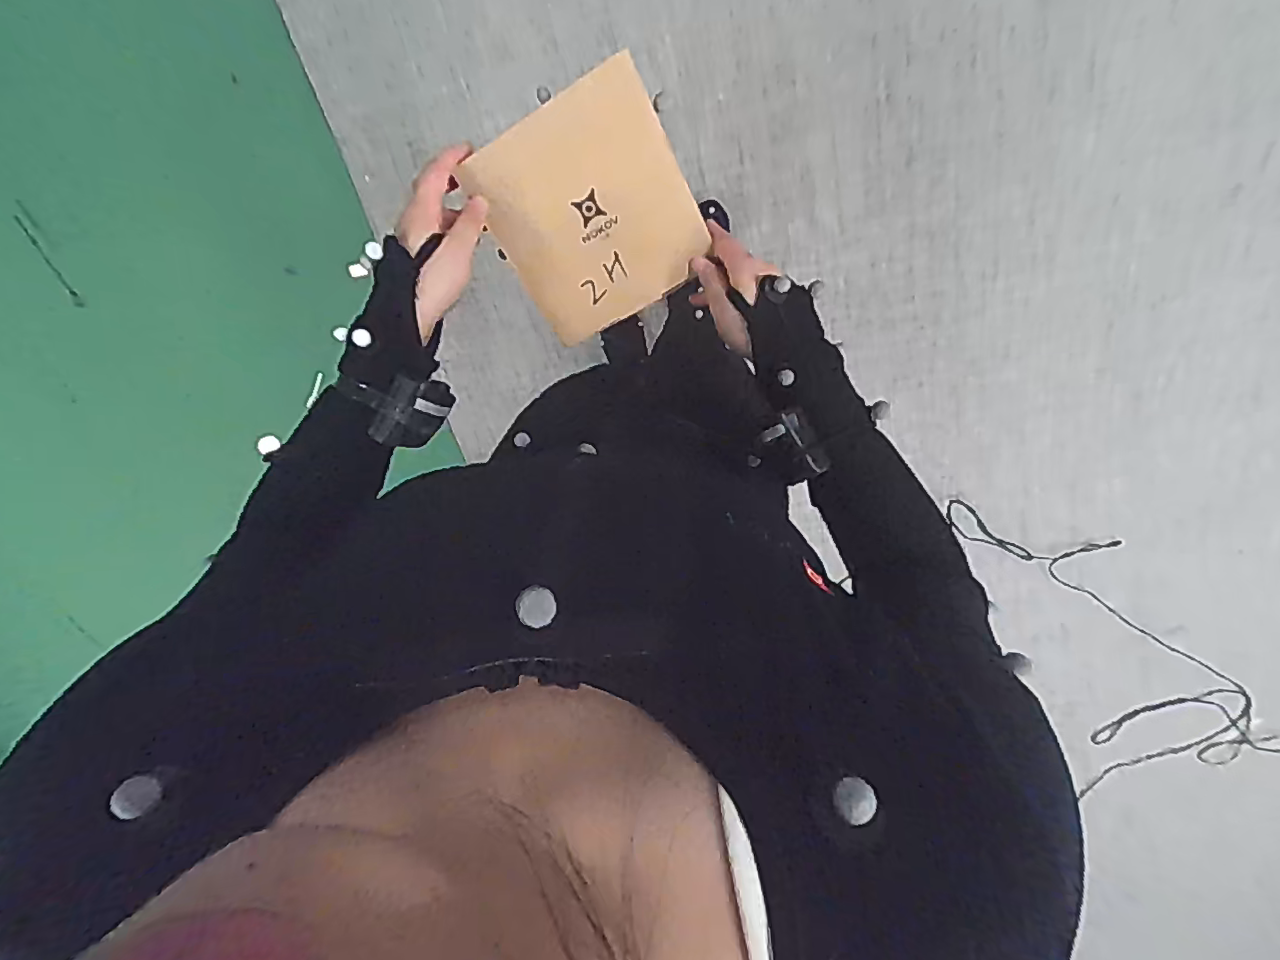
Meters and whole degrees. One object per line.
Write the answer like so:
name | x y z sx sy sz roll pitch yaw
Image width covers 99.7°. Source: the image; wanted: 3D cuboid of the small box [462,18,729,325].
small box | -0.035 -0.284 0.517 0.168 0.176 0.179 -25 122 15

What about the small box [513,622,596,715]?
small box | -0.230 0.522 1.513 0.179 0.176 0.168 -14 115 10
